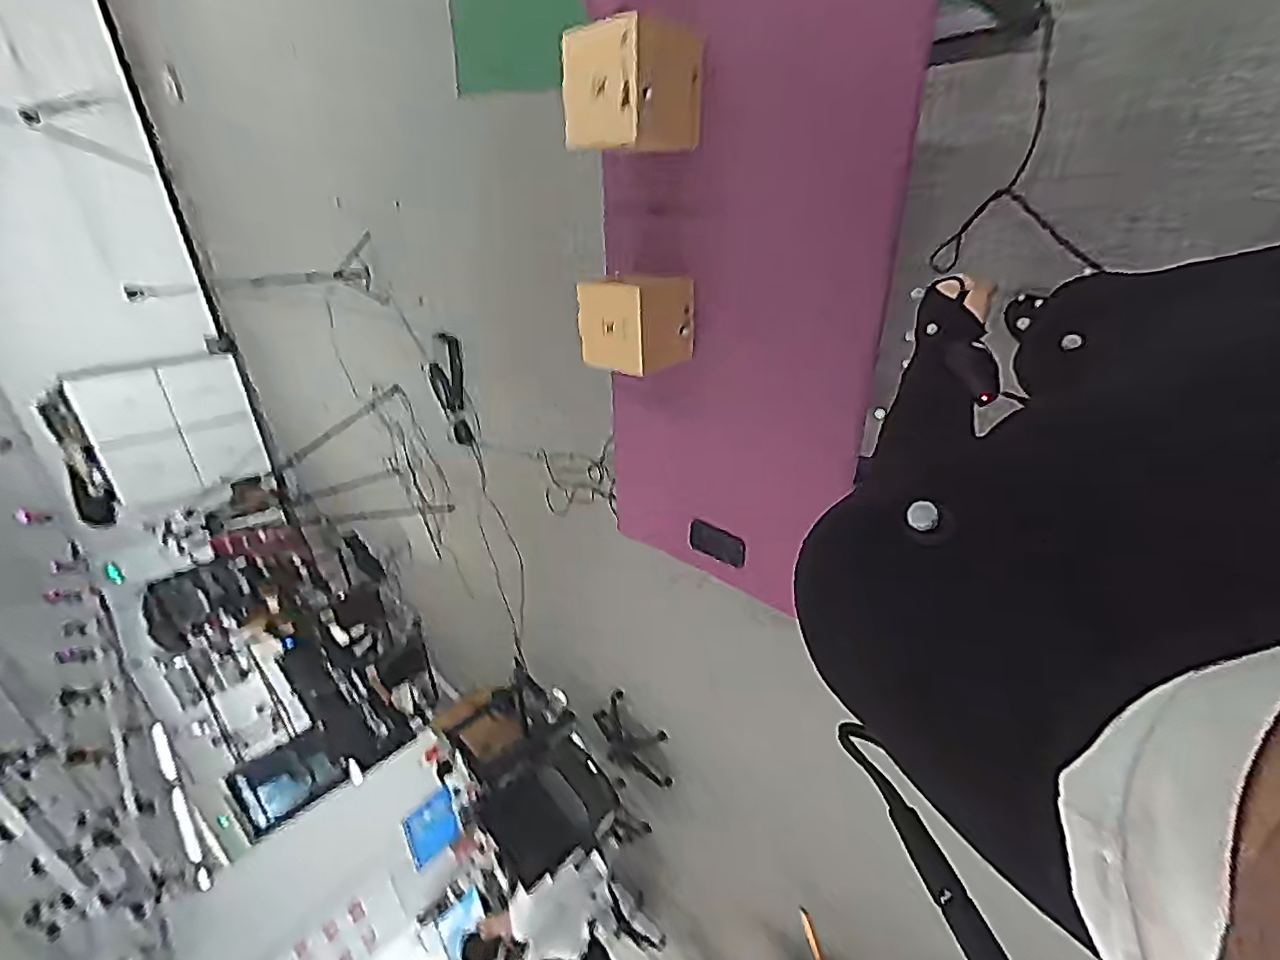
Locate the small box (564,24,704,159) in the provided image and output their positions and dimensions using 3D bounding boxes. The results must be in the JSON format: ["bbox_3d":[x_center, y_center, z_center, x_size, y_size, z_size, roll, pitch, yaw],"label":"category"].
[{"bbox_3d":[-0.011,-0.666,0.950,0.179,0.176,0.168,24,126,38],"label":"small box"}]

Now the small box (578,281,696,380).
[{"bbox_3d":[-0.006,-0.316,1.122,0.179,0.176,0.168,21,124,39],"label":"small box"}]
